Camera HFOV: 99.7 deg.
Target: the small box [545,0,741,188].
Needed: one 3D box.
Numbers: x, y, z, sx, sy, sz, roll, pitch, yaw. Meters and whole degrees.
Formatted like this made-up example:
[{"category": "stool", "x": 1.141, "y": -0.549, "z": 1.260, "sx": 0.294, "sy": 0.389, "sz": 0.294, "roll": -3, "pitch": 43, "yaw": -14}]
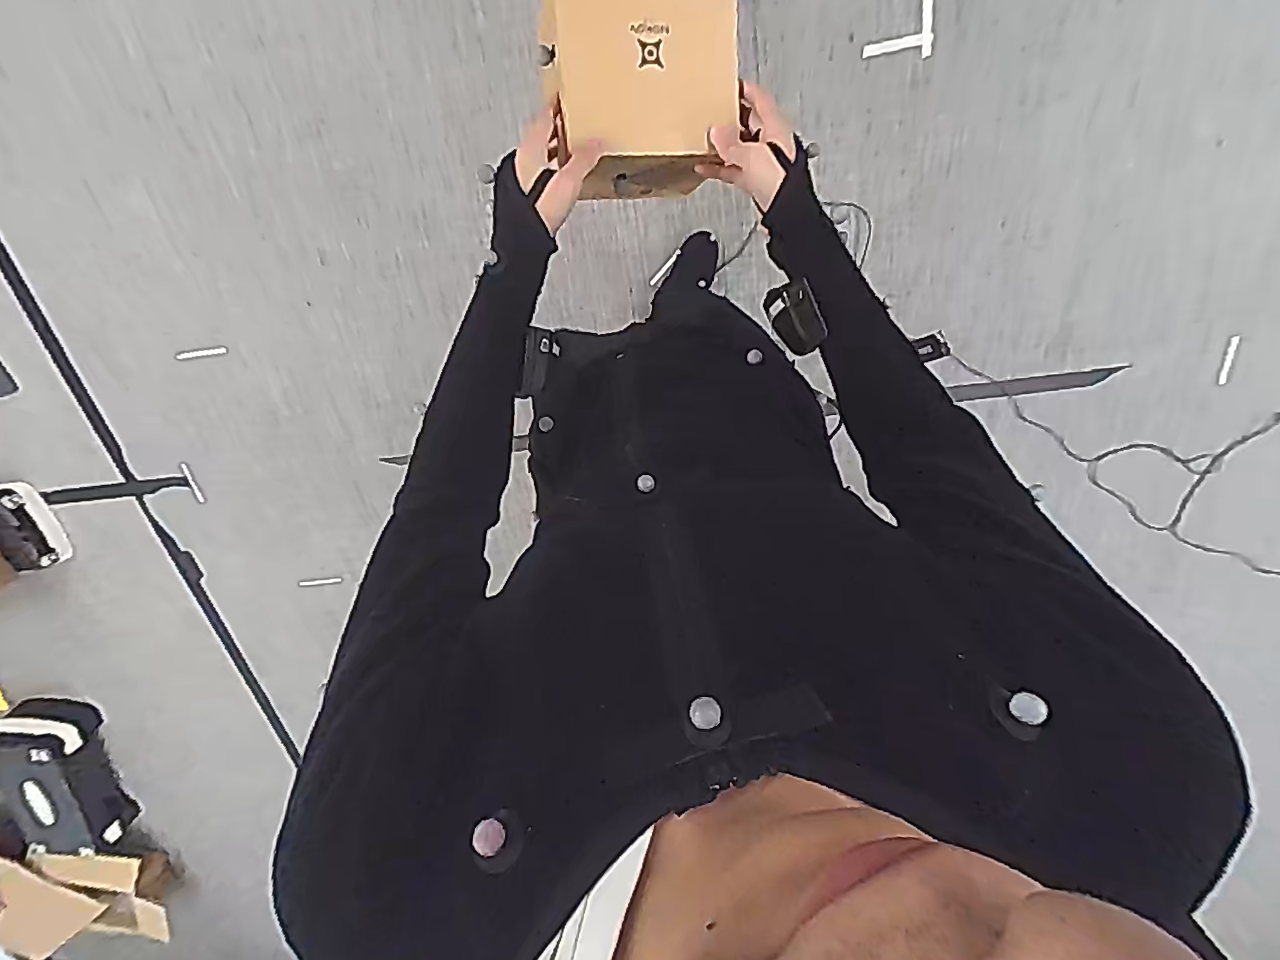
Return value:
[{"category": "small box", "x": -0.004, "y": -0.409, "z": 0.548, "sx": 0.168, "sy": 0.176, "sz": 0.179, "roll": -7, "pitch": 105, "yaw": -10}]
